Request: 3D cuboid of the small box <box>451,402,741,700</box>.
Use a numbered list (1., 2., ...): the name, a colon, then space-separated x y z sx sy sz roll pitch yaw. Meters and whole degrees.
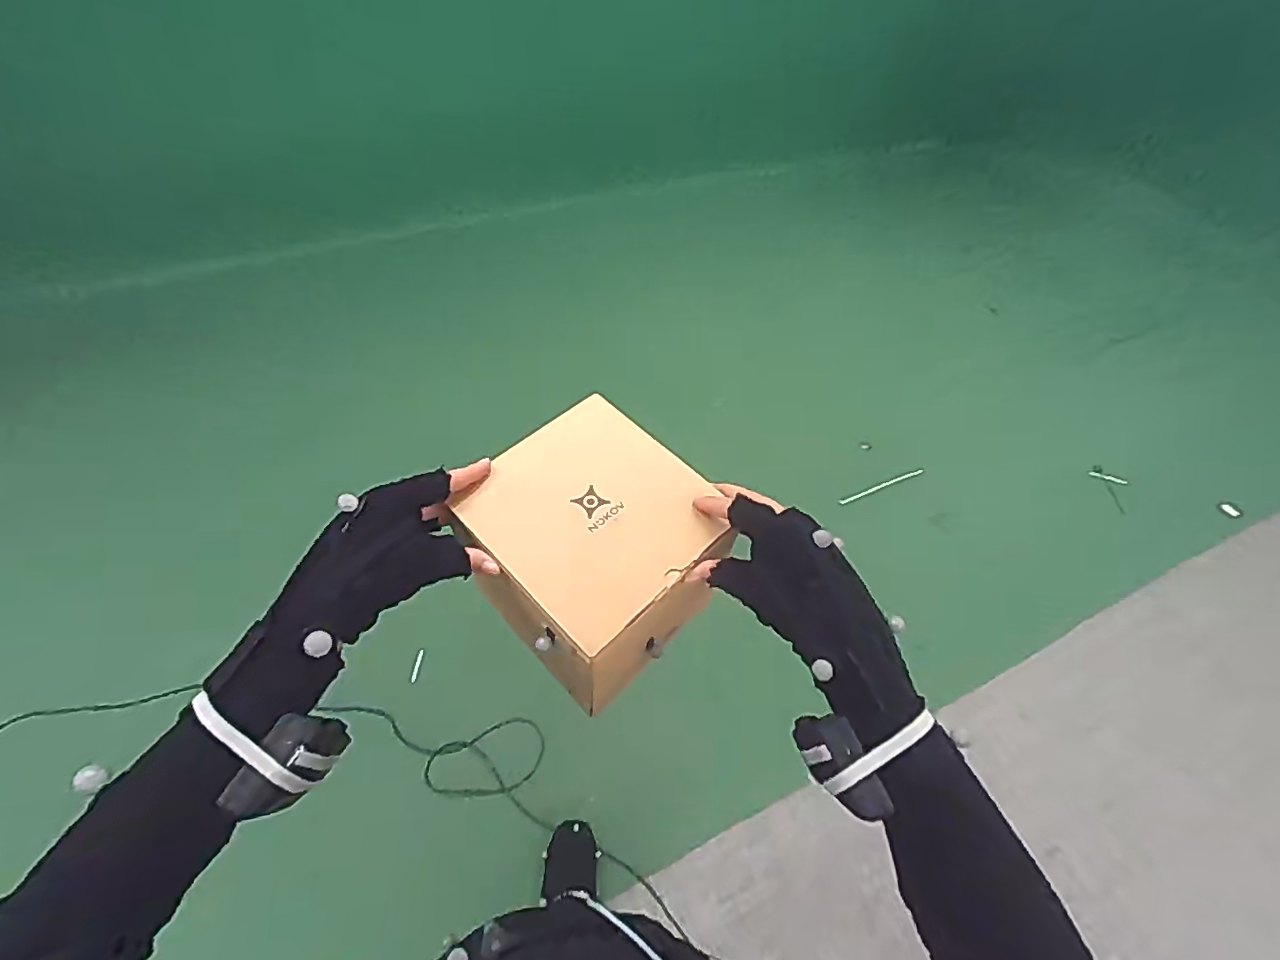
1. small box: -0.041 0.068 0.495 0.179 0.176 0.168 41 61 21
